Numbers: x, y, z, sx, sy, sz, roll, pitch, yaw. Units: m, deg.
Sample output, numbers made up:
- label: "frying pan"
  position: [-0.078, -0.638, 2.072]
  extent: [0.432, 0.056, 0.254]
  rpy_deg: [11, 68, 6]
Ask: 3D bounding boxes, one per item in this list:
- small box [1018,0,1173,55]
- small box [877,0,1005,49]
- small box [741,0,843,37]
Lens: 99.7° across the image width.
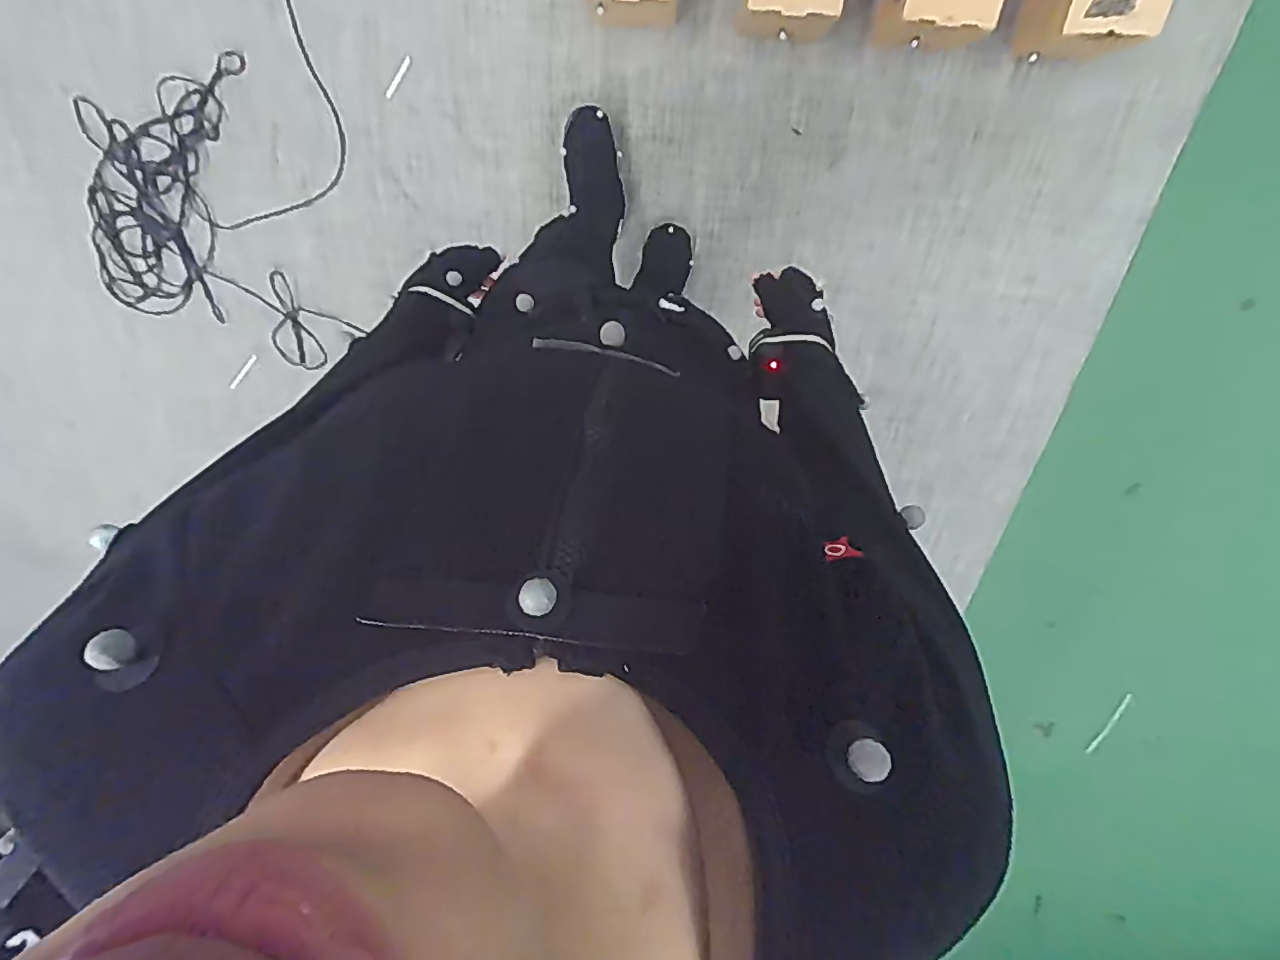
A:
- label: "small box"
  position: [0.813, -0.876, 0.954]
  extent: [0.168, 0.176, 0.179]
  rpy_deg: [4, 118, 2]
- label: "small box"
  position: [0.546, -0.902, 0.960]
  extent: [0.168, 0.176, 0.179]
  rpy_deg: [6, 119, 0]
- label: "small box"
  position: [0.278, -0.926, 0.964]
  extent: [0.168, 0.176, 0.179]
  rpy_deg: [6, 119, 2]
